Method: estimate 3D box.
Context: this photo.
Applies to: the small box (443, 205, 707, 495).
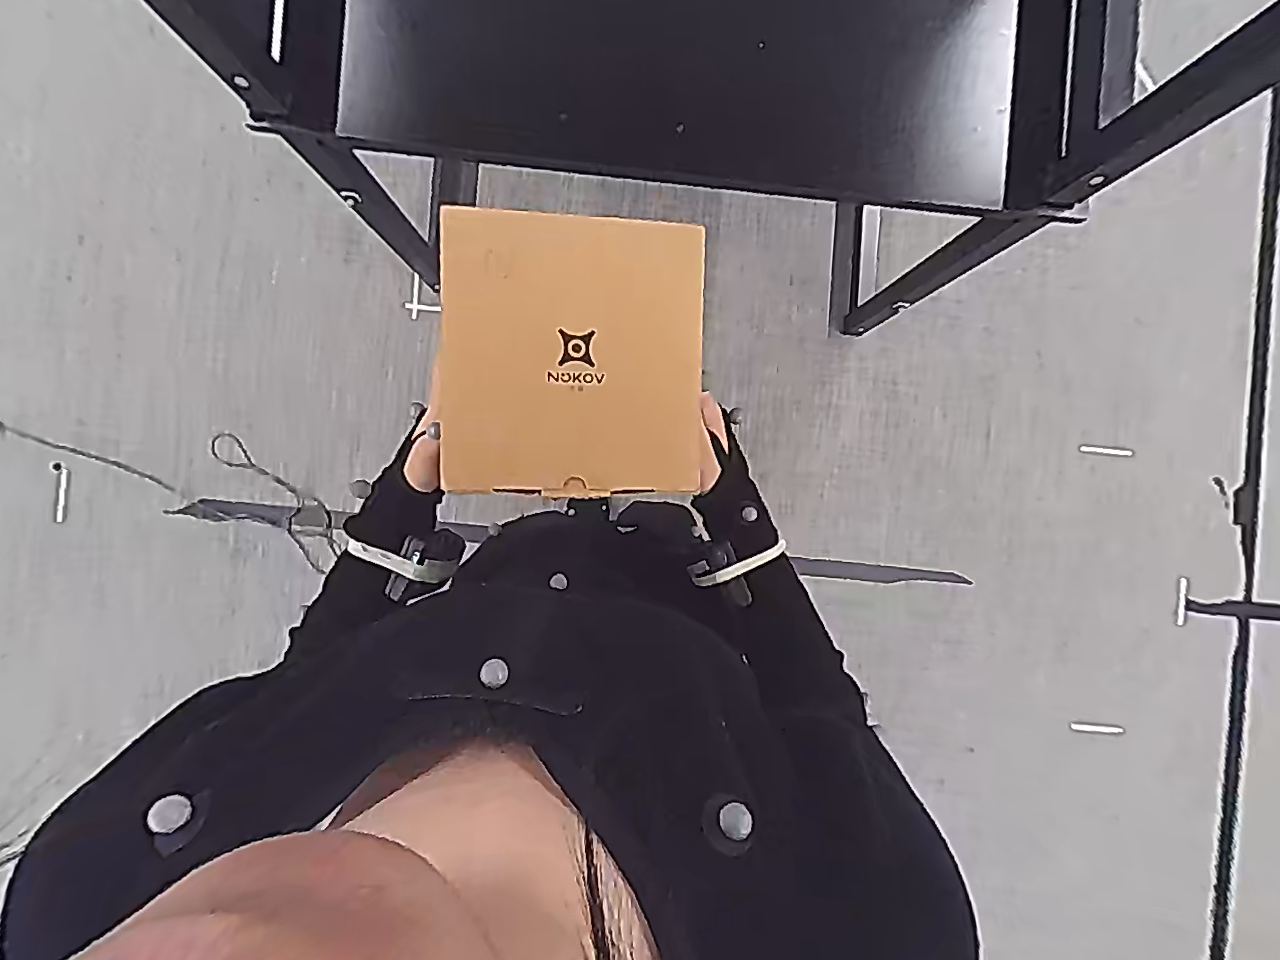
[{"bbox_3d":[-0.052,-0.082,0.420,0.168,0.176,0.179,1,94,-9],"label":"small box"}]
